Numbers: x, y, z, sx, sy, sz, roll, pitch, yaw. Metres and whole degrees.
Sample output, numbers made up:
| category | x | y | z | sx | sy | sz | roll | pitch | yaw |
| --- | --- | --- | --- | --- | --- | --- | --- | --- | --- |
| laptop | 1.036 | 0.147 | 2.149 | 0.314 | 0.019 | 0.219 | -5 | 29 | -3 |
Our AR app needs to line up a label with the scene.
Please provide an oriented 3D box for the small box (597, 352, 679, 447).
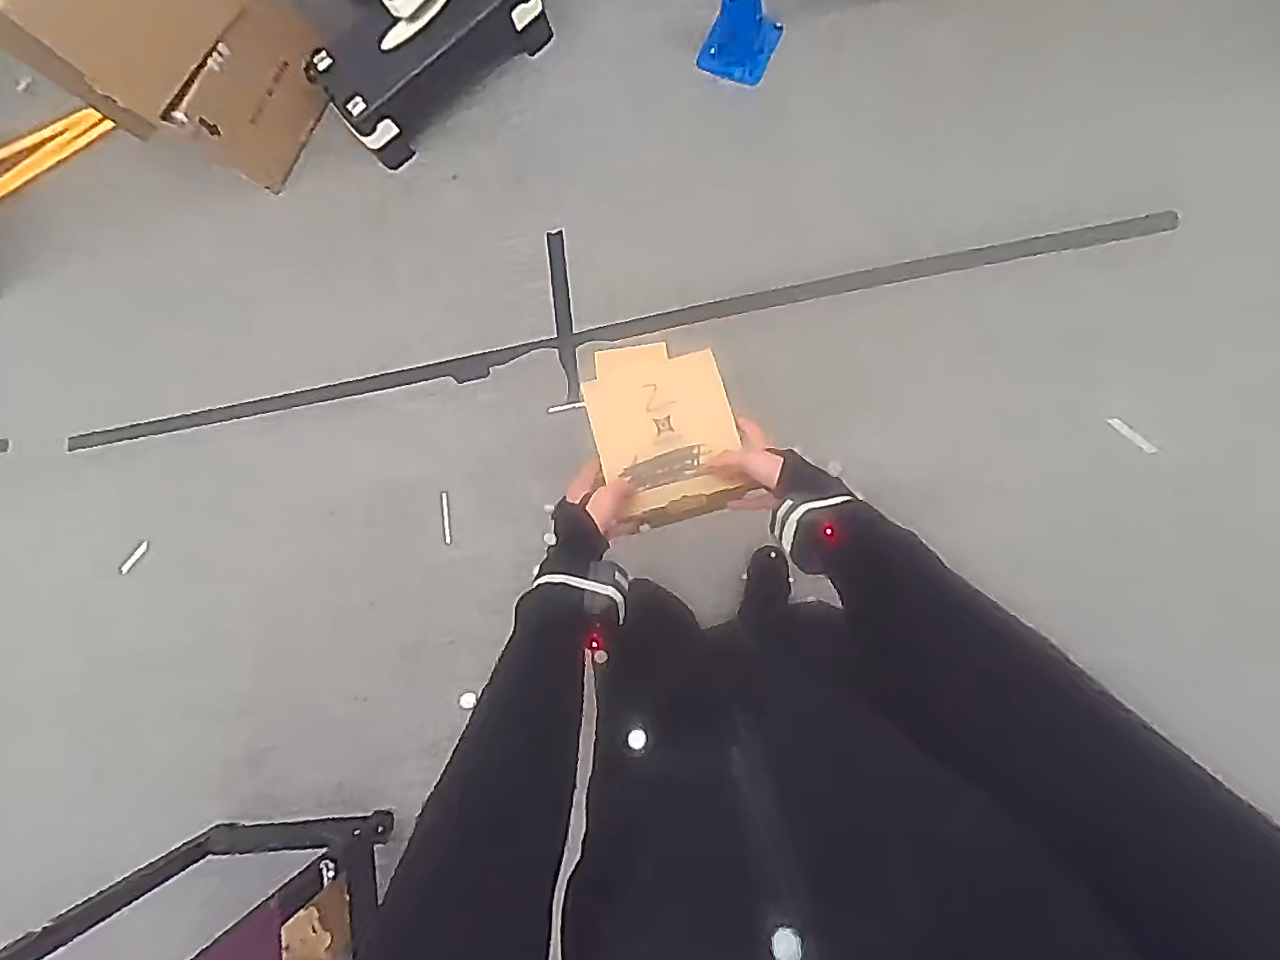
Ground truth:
| category | x | y | z | sx | sy | sz | roll | pitch | yaw |
| --- | --- | --- | --- | --- | --- | --- | --- | --- | --- |
| small box | -0.001 | -0.183 | 1.279 | 0.168 | 0.176 | 0.179 | -7 | 84 | 8 |

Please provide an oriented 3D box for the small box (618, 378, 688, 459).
| category | x | y | z | sx | sy | sz | roll | pitch | yaw |
| --- | --- | --- | --- | --- | --- | --- | --- | --- | --- |
| small box | 0.030 | -0.157 | 1.438 | 0.179 | 0.176 | 0.168 | -11 | 83 | 8 |
